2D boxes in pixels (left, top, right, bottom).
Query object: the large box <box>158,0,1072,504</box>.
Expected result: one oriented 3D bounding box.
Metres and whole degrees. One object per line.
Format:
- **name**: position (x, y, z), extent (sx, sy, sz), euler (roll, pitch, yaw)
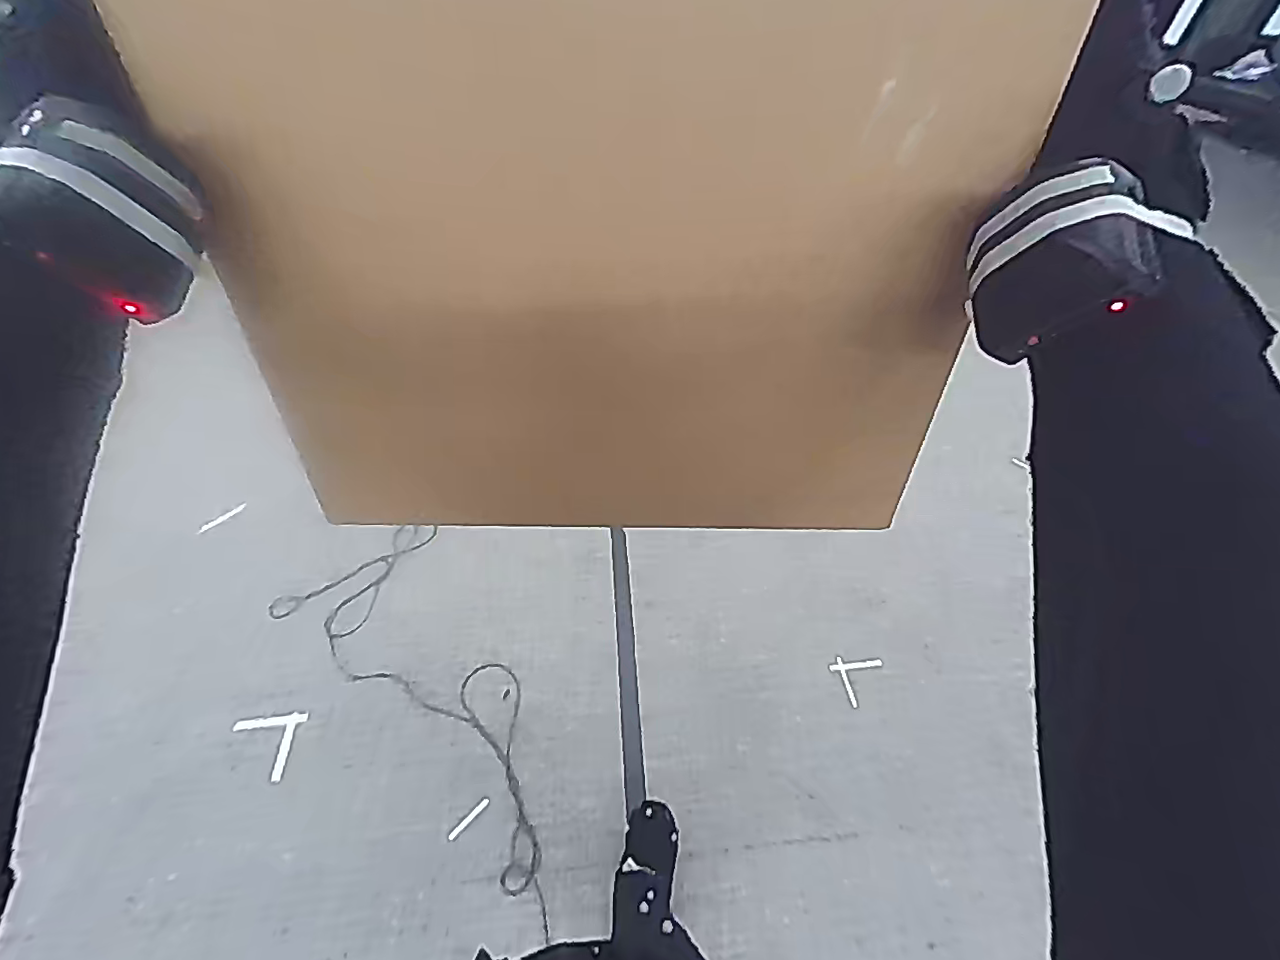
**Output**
- **large box**: position (-0.017, -0.191, 0.424), extent (0.408, 0.320, 0.320), euler (1, 38, -2)
